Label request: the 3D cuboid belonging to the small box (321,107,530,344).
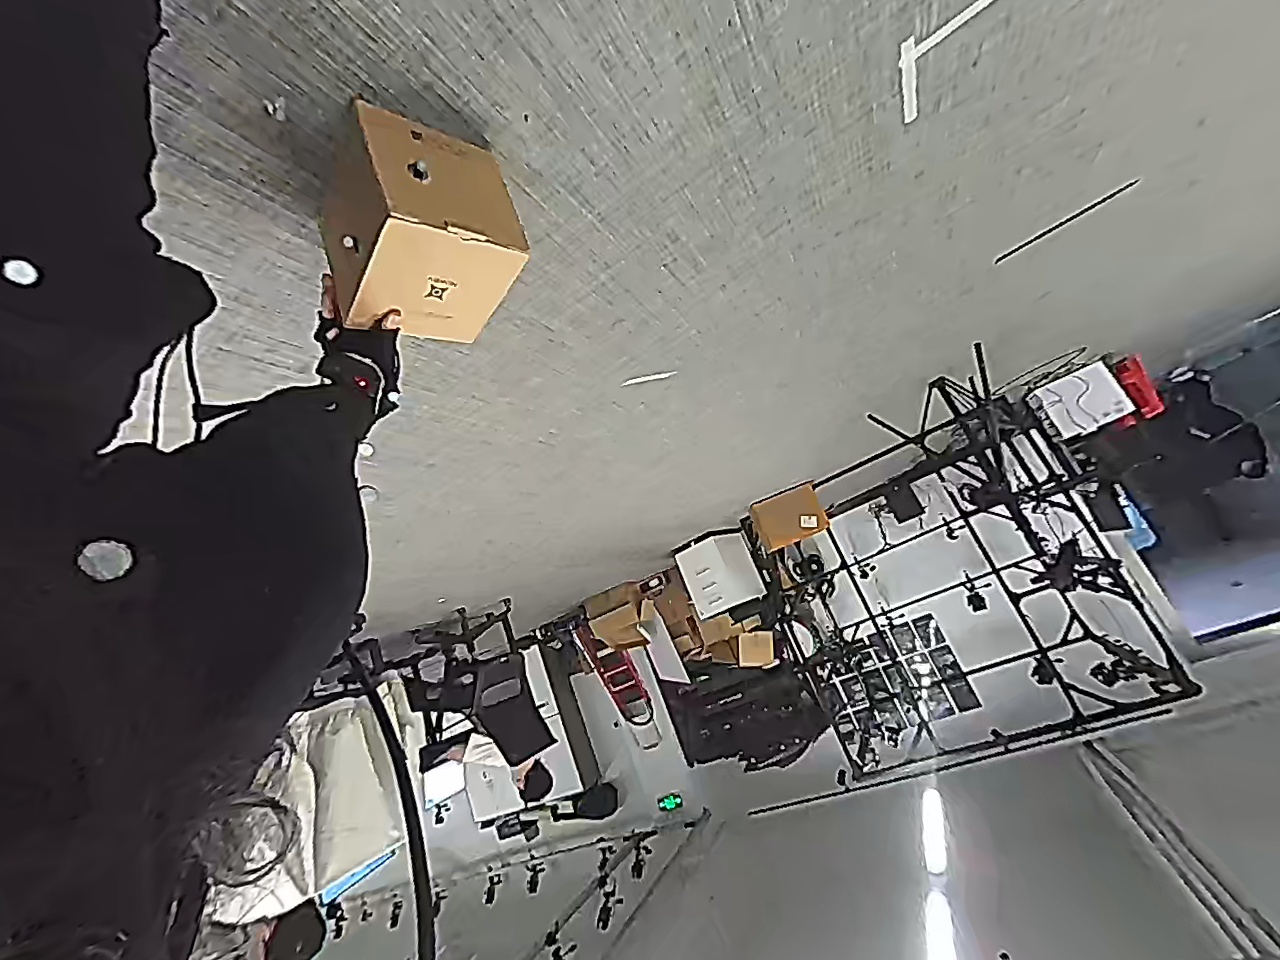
[{"bbox_3d":[-0.265,-0.293,0.651,0.168,0.176,0.179,-3,156,-45],"label":"small box"}]
